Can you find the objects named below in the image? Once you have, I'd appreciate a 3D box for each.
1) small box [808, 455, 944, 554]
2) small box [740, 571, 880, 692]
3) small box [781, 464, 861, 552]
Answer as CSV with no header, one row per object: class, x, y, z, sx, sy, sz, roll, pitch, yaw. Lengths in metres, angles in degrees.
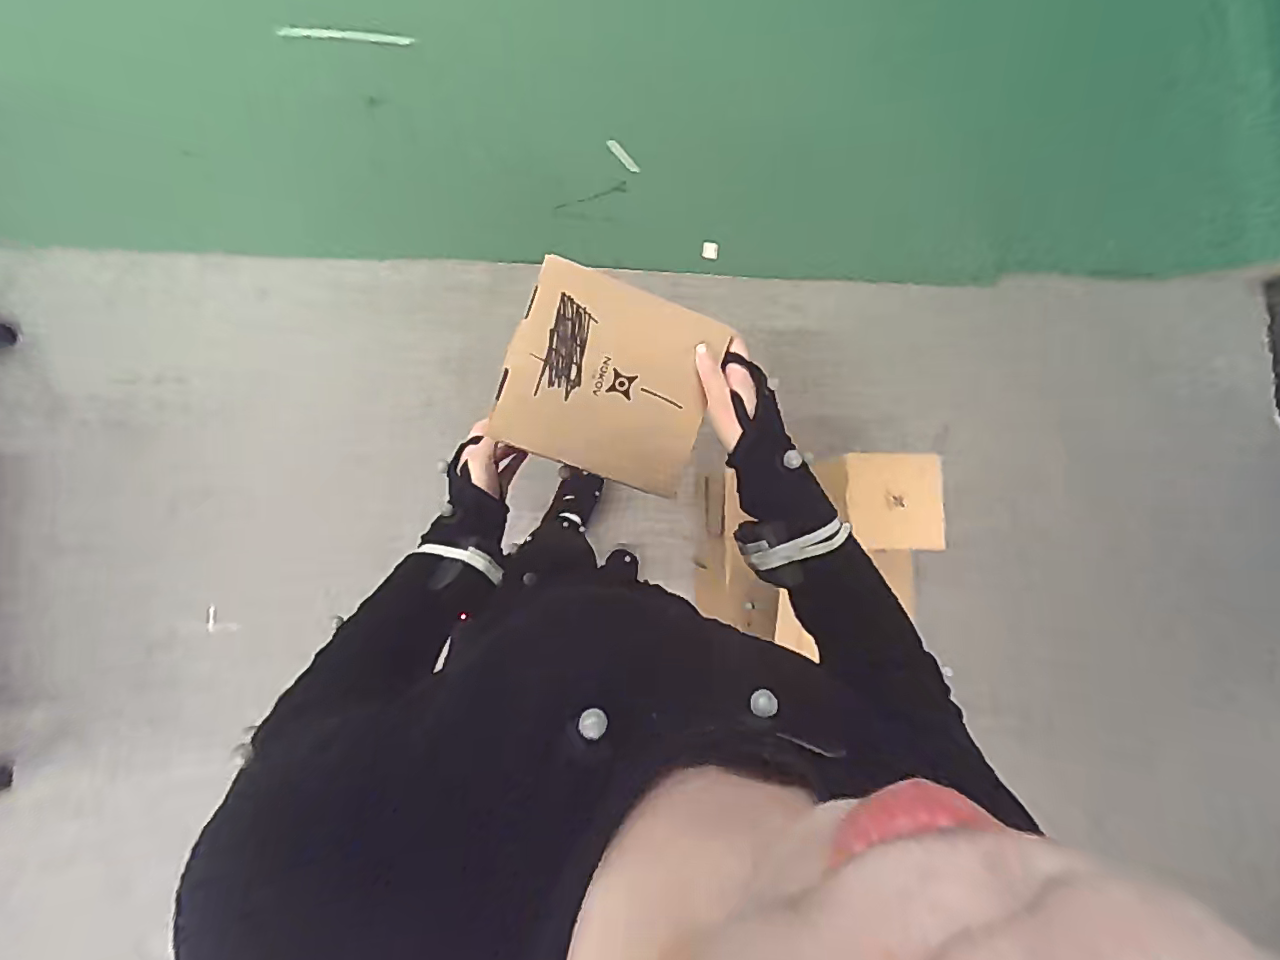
small box,0.430,0.046,1.002,0.179,0.176,0.168,2,86,-6
small box,0.297,0.263,0.971,0.179,0.176,0.168,9,85,-5
small box,0.412,0.061,1.164,0.168,0.176,0.179,0,86,-7
